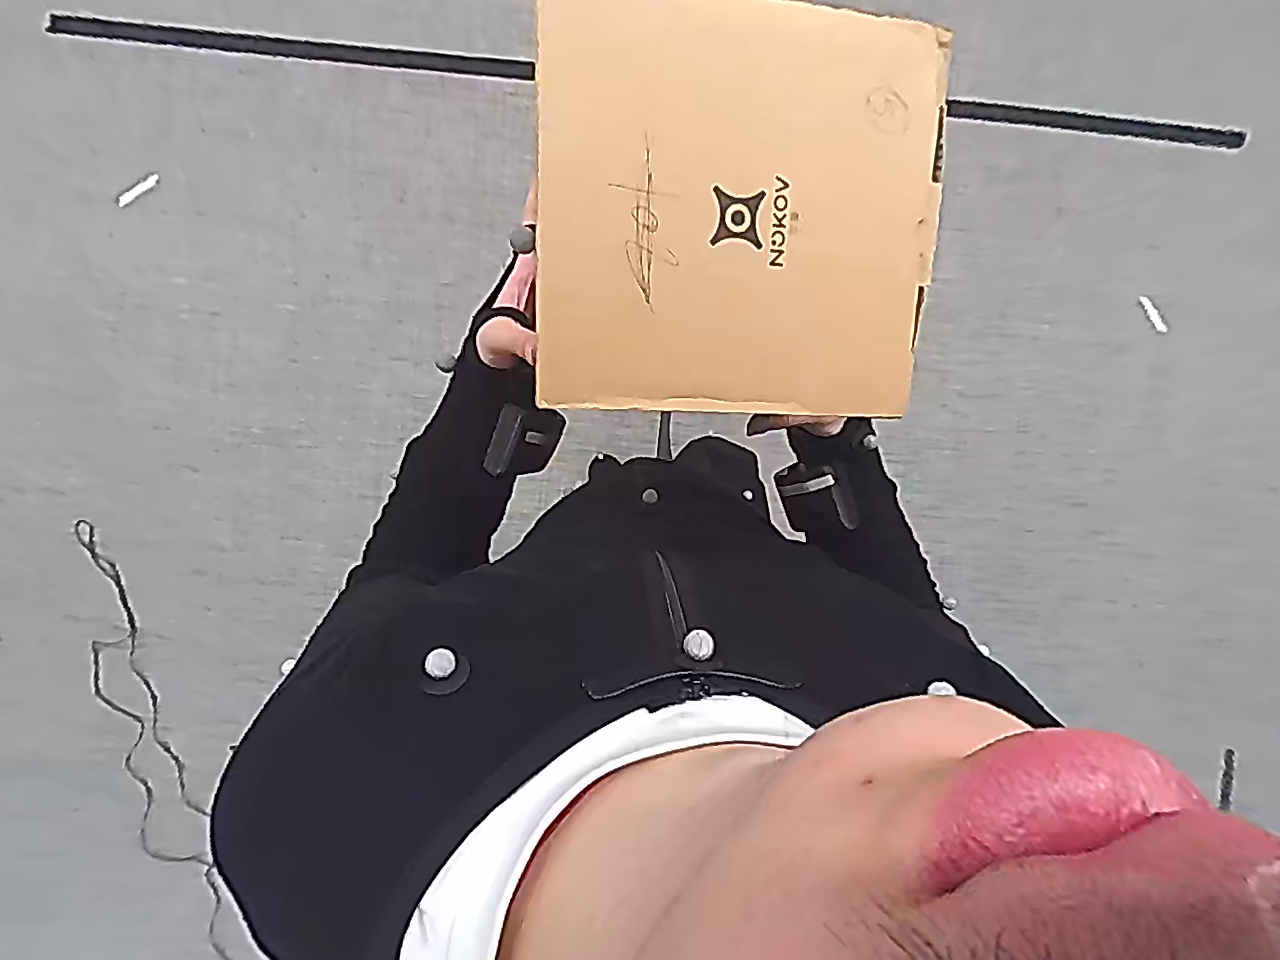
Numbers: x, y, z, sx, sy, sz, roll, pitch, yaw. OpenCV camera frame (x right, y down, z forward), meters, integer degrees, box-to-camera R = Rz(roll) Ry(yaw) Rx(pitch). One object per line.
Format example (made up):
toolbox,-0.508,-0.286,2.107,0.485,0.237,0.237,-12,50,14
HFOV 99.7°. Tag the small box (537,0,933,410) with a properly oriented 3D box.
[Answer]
small box,0.030,-0.132,0.318,0.179,0.176,0.168,0,100,-9
